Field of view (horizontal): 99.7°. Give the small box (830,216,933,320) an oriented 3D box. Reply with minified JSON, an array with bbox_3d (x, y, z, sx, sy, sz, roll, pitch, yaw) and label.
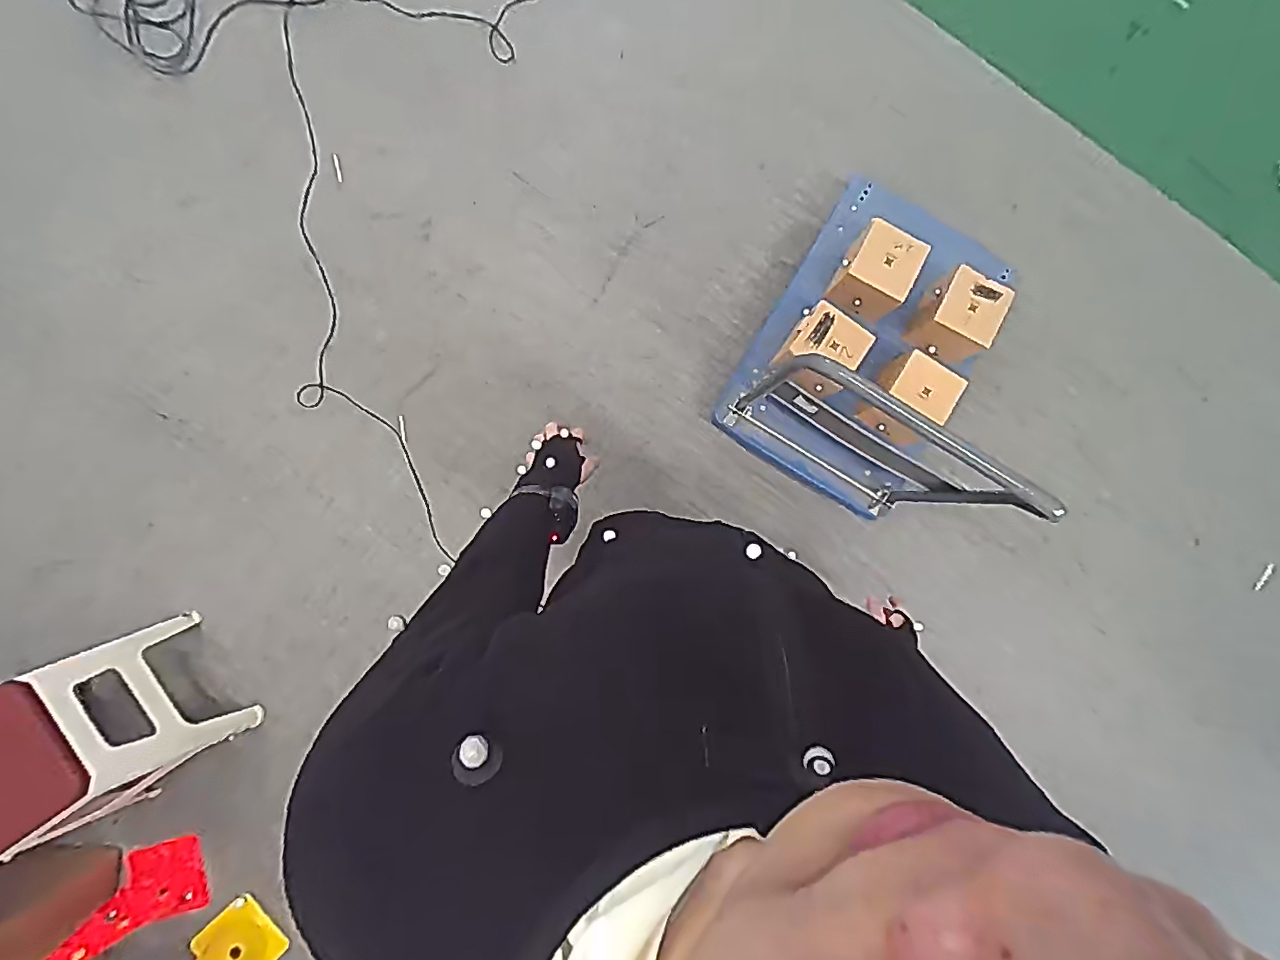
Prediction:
[{"bbox_3d":[0.646,-0.565,1.473,0.168,0.176,0.179,29,85,-2],"label":"small box"}]

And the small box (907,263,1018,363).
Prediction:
[{"bbox_3d":[0.870,-0.447,1.476,0.168,0.176,0.179,28,86,0],"label":"small box"}]

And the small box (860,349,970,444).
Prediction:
[{"bbox_3d":[0.729,-0.218,1.456,0.168,0.176,0.179,33,86,-1],"label":"small box"}]
